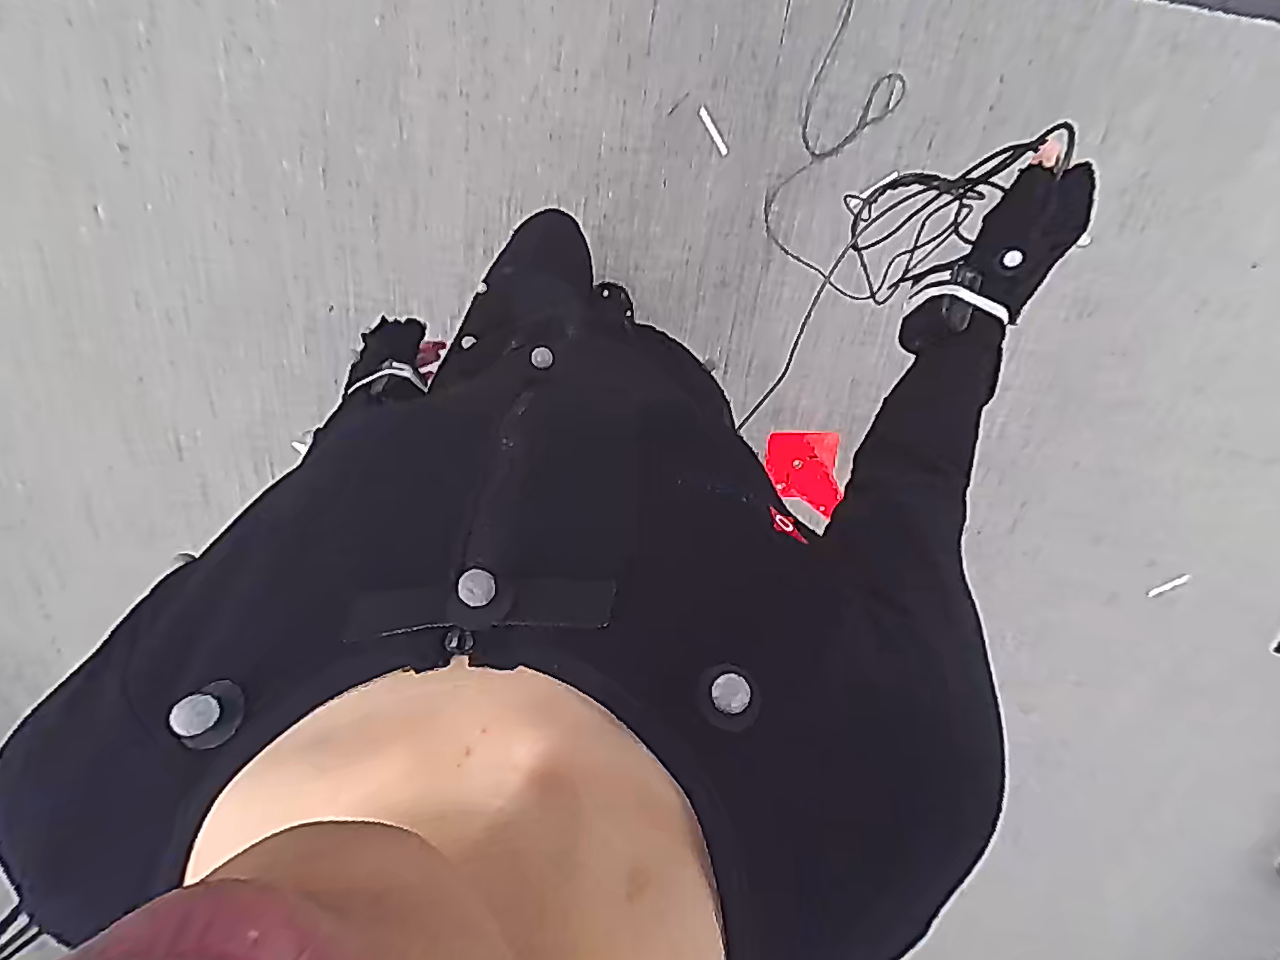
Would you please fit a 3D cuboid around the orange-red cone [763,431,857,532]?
[{"bbox_3d":[0.458,0.026,1.352,0.199,0.360,0.198,1,114,-4],"label":"orange-red cone"}]
